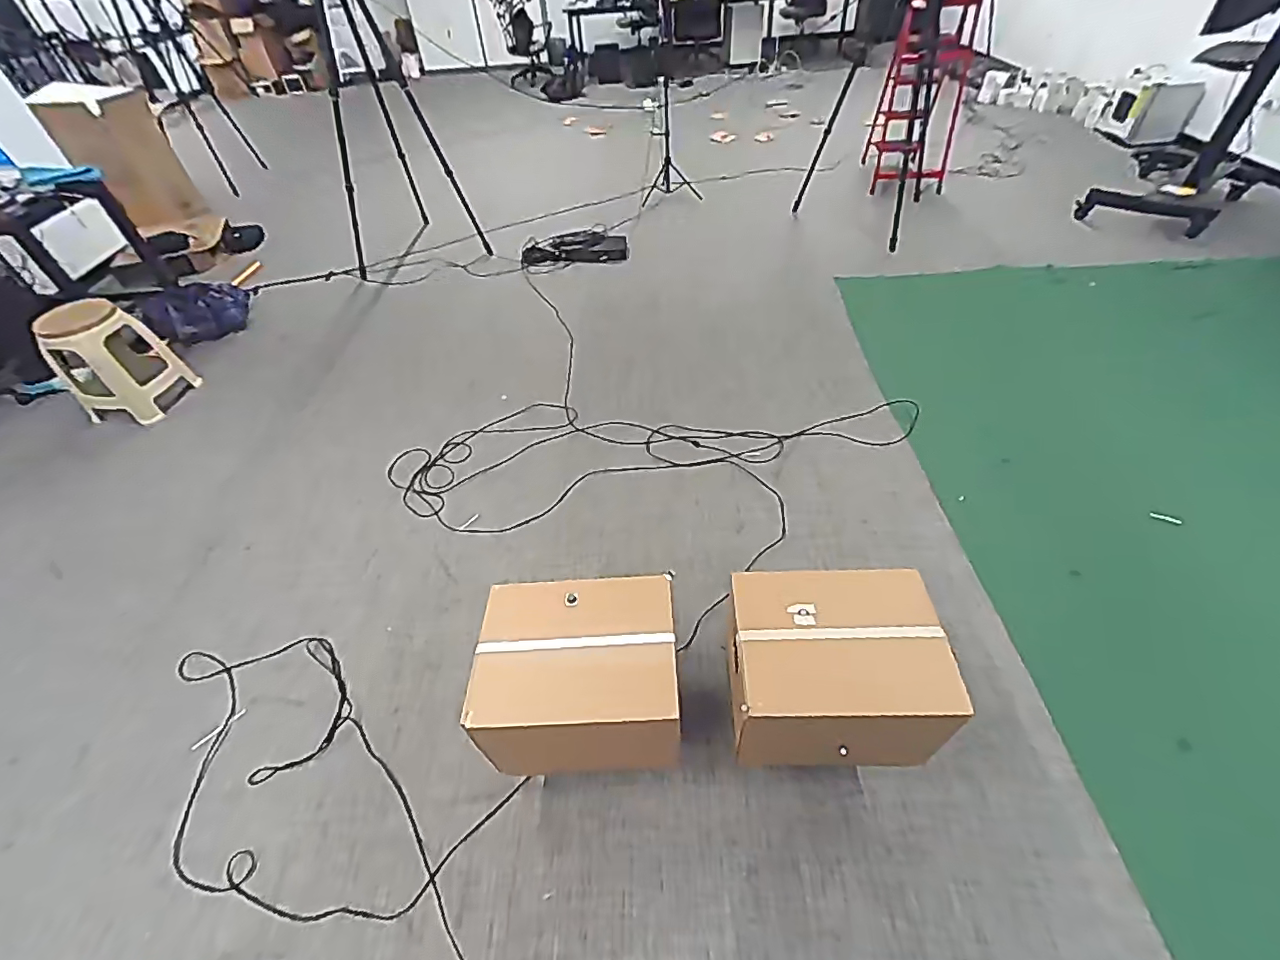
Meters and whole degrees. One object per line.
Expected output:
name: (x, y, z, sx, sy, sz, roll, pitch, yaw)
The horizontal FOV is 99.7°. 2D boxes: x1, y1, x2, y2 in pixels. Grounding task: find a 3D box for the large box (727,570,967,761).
large box: (0.414, 0.418, 1.201, 0.408, 0.320, 0.320, -2, 47, 4)
